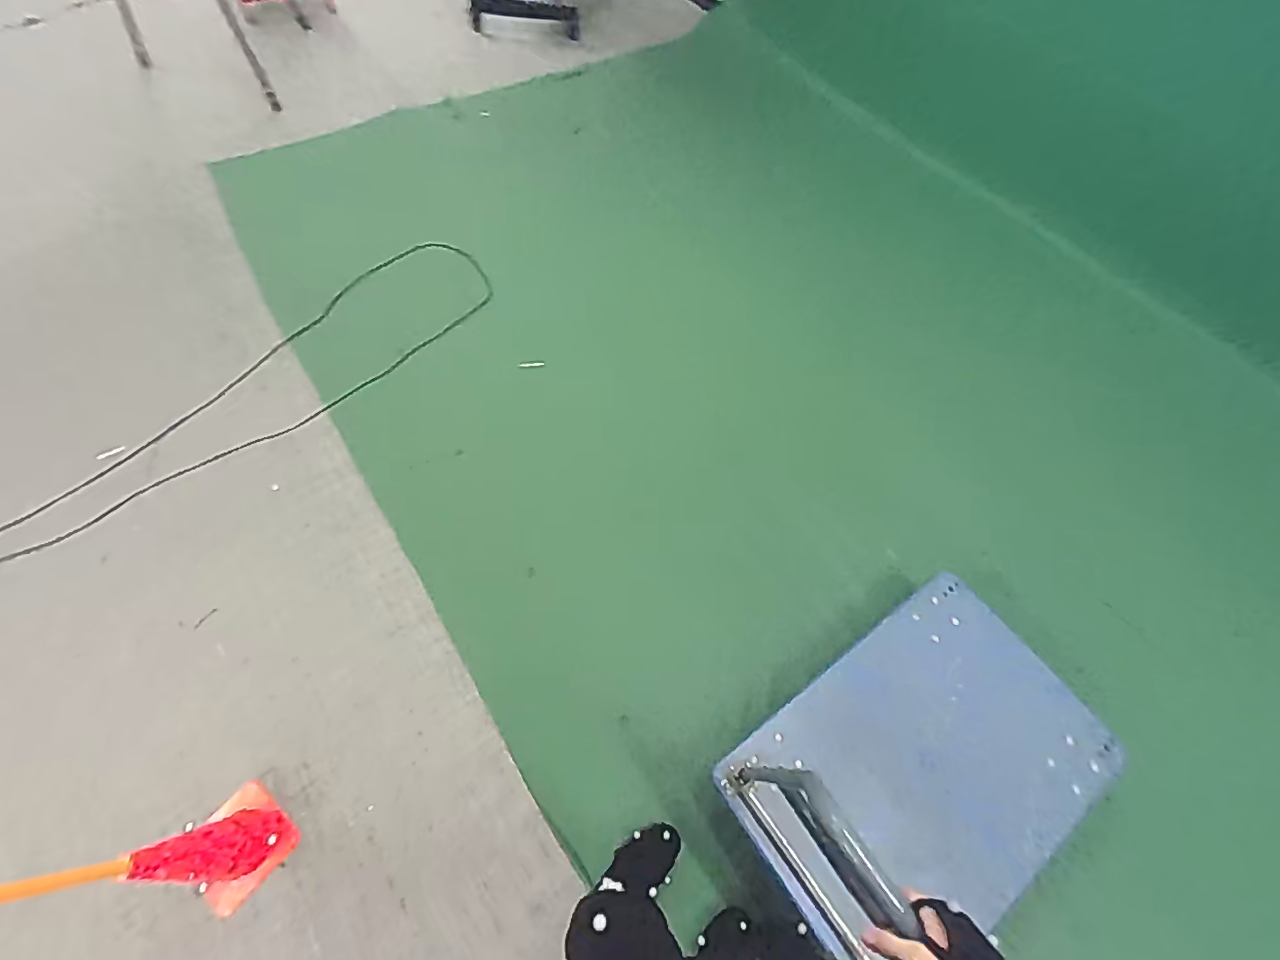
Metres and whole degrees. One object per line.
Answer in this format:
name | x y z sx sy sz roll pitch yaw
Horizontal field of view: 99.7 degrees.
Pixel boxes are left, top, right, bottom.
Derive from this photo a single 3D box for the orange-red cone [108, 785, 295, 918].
orange-red cone | -0.916 0.760 1.091 0.199 0.360 0.198 37 64 17
